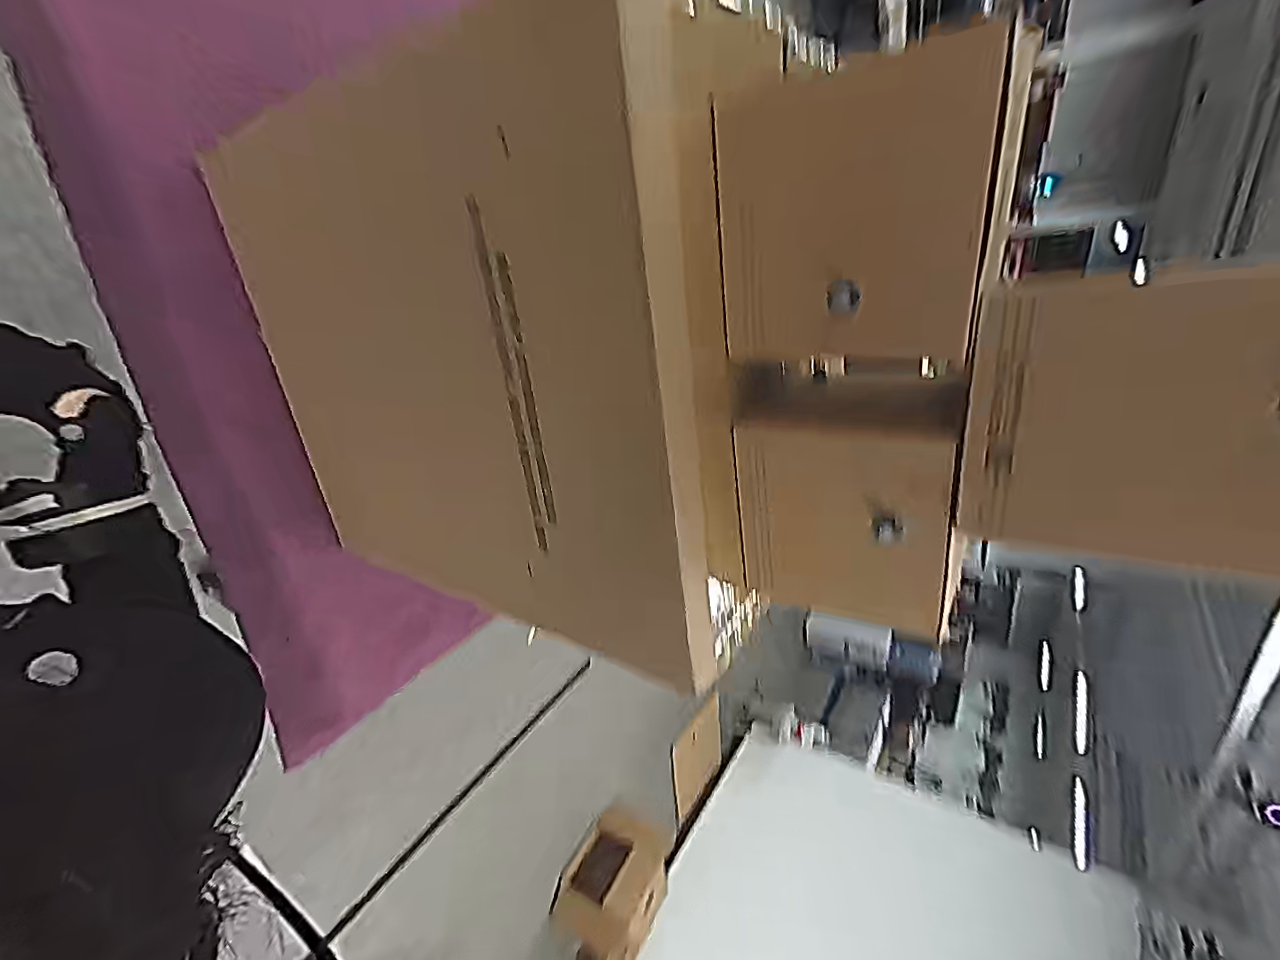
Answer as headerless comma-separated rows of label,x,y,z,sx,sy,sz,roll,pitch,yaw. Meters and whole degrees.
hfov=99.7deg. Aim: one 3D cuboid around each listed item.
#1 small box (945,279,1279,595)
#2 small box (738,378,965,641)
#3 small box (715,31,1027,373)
small box,0.323,-0.047,0.374,0.179,0.176,0.168,-26,118,-52
small box,0.198,0.011,0.497,0.168,0.176,0.179,-37,127,-46
small box,0.168,-0.190,0.403,0.168,0.176,0.179,-38,128,-46
